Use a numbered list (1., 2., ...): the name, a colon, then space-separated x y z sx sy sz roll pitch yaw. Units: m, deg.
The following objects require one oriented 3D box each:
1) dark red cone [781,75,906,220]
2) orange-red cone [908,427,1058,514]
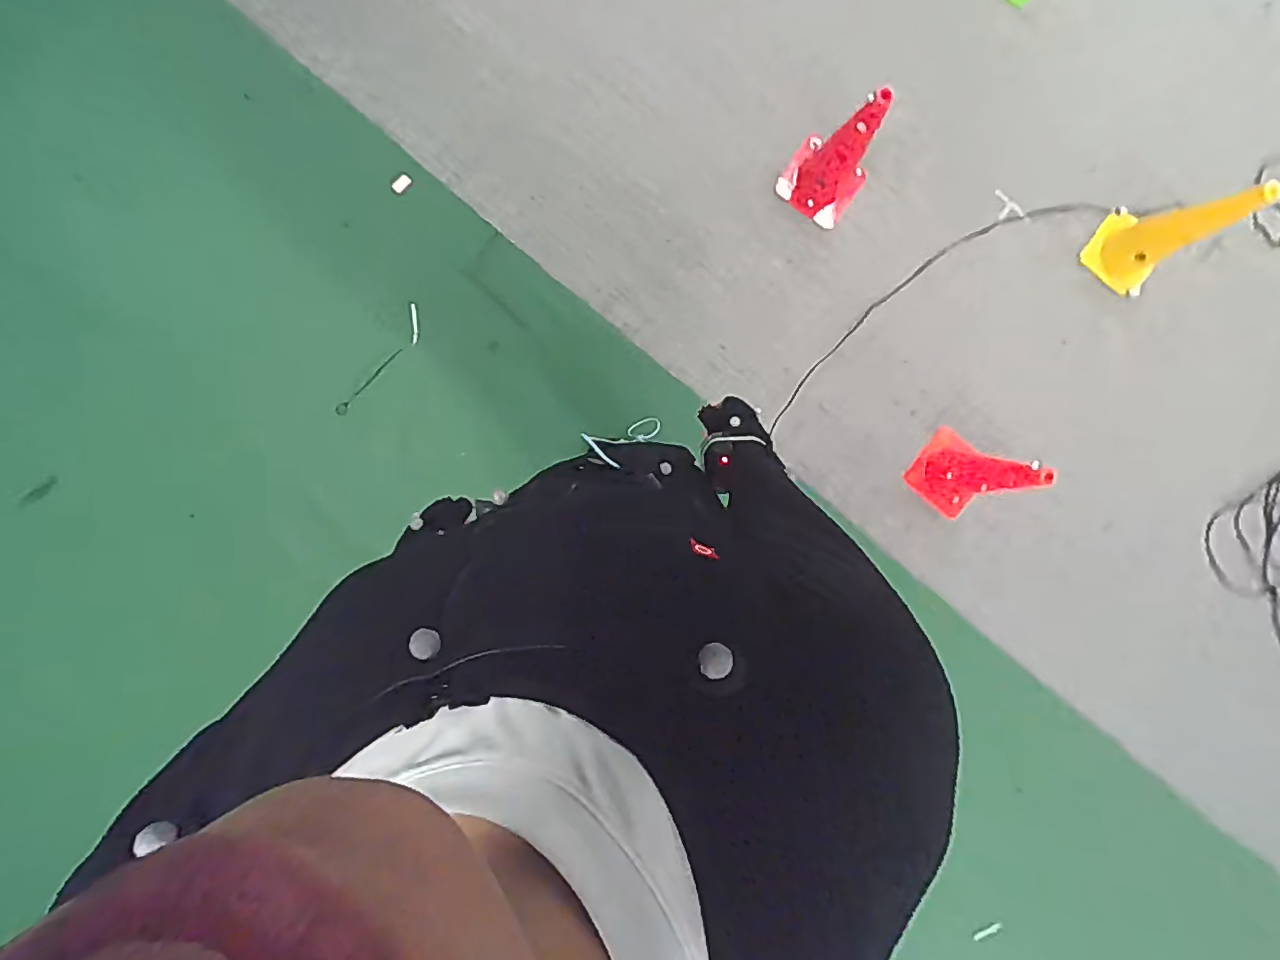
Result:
1. dark red cone: 0.515 -0.825 1.300 0.202 0.394 0.201 33 91 -4
2. orange-red cone: 0.898 -0.022 1.374 0.198 0.360 0.199 39 88 -5
